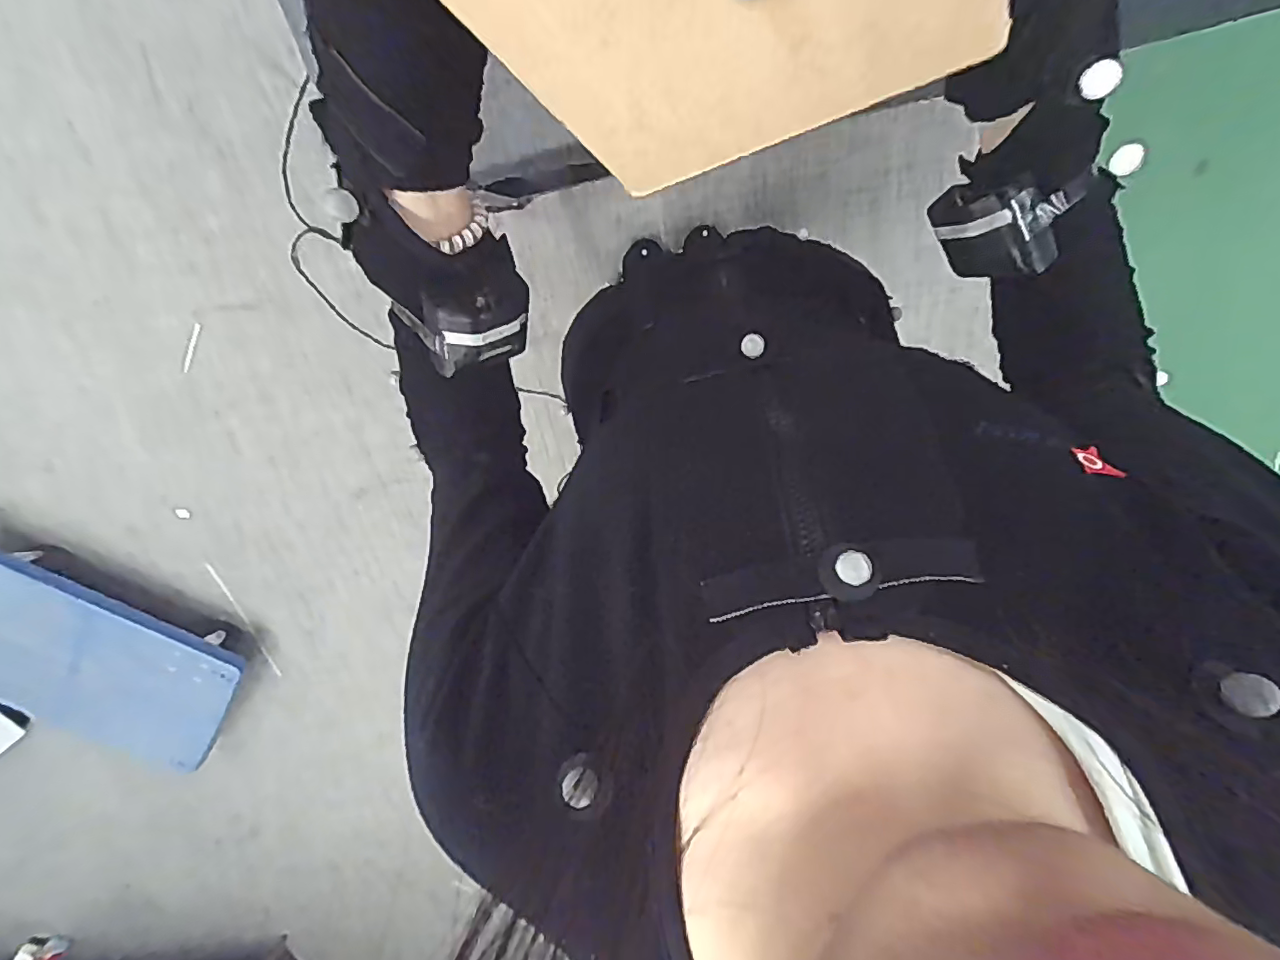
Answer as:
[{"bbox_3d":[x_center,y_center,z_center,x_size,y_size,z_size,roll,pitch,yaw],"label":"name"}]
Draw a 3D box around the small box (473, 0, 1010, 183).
[{"bbox_3d":[0.023,-0.252,0.183,0.168,0.176,0.179,2,82,38],"label":"small box"}]
